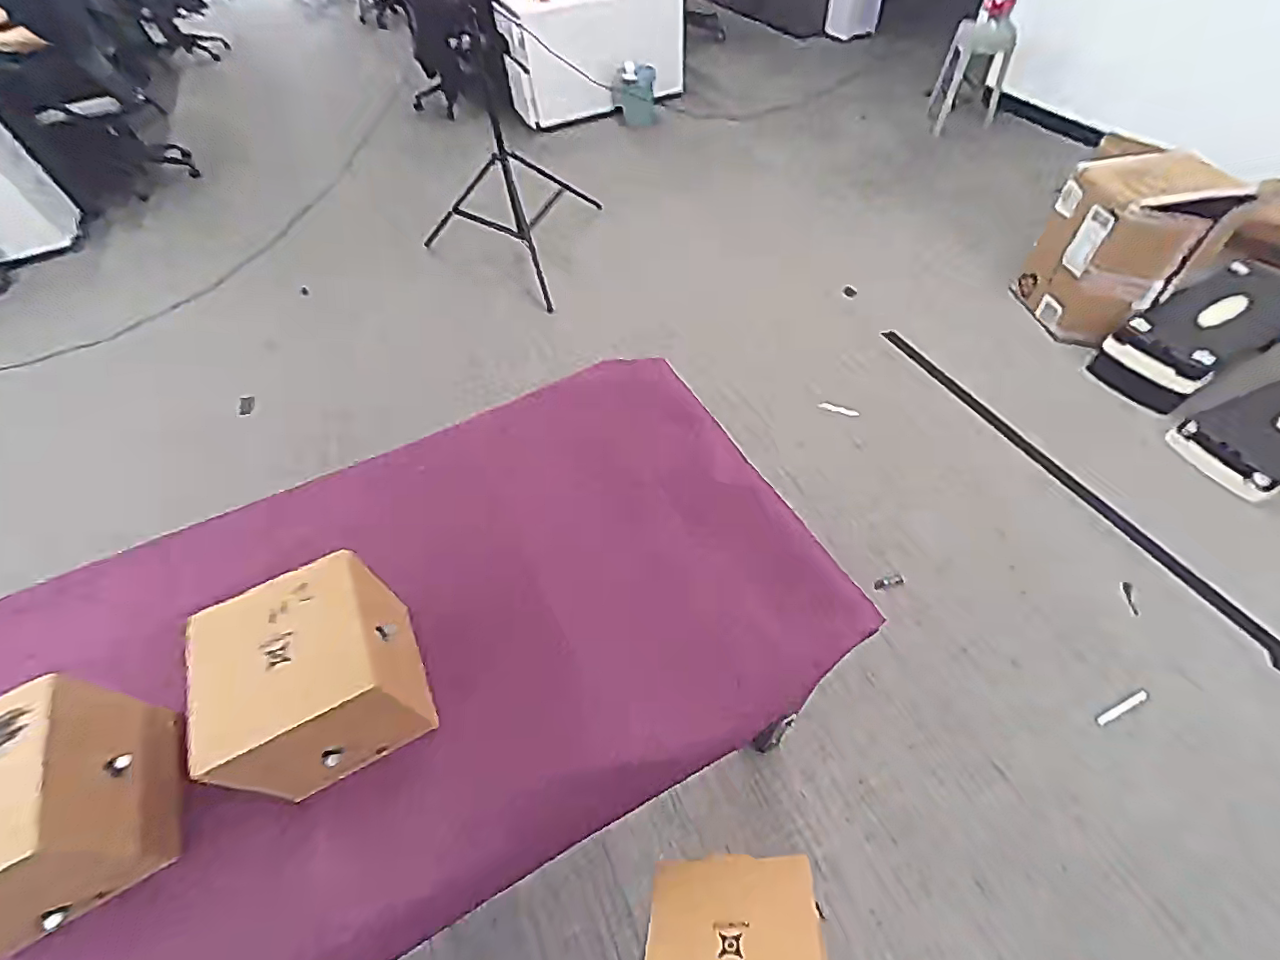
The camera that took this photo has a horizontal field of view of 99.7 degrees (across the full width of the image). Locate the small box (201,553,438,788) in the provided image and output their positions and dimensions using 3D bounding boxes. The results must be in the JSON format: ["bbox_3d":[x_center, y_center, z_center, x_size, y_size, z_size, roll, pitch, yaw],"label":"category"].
[{"bbox_3d":[-0.349,0.220,0.609,0.168,0.176,0.179,-24,54,-15],"label":"small box"}]
